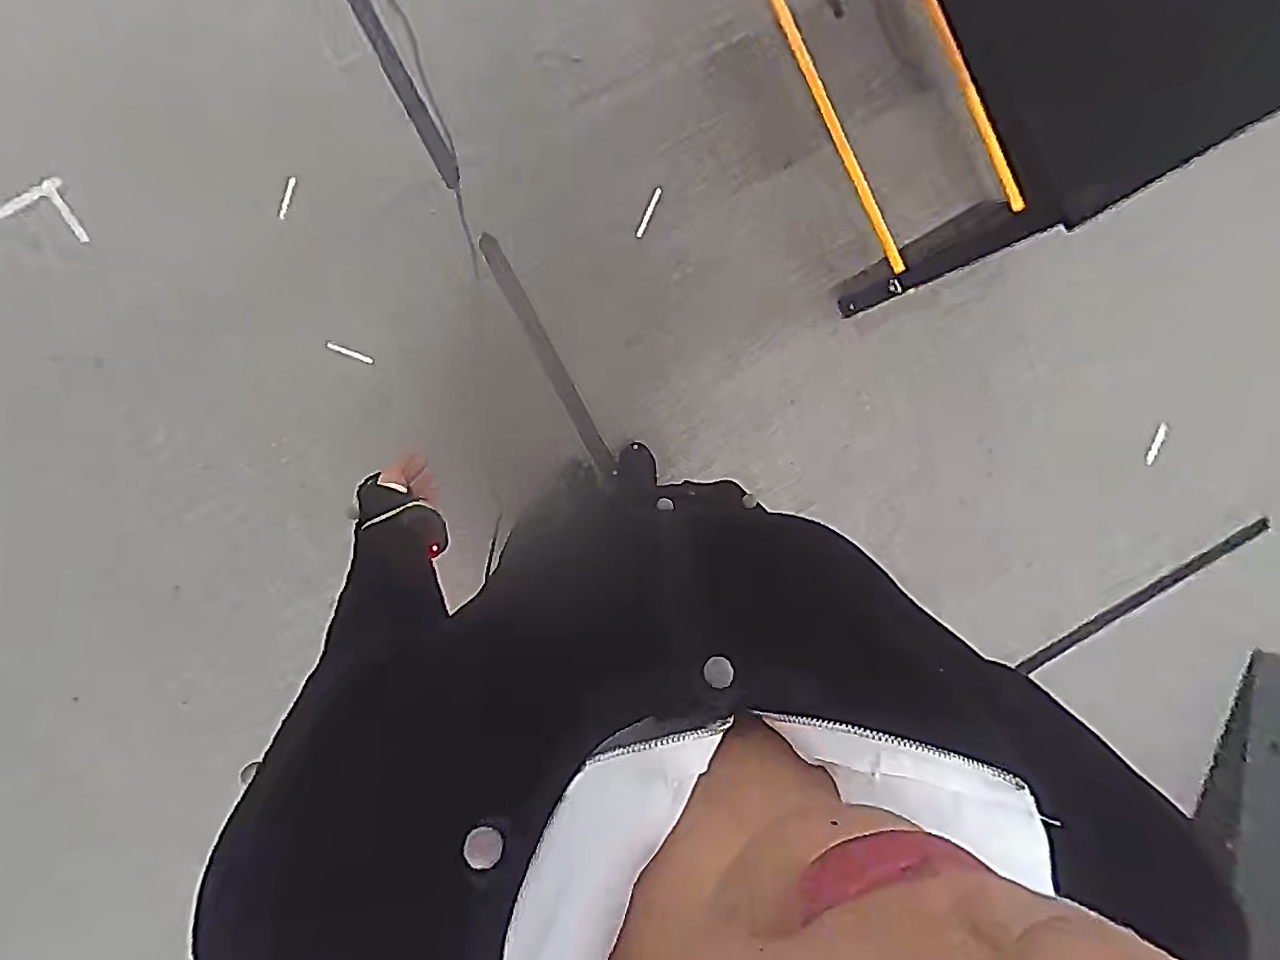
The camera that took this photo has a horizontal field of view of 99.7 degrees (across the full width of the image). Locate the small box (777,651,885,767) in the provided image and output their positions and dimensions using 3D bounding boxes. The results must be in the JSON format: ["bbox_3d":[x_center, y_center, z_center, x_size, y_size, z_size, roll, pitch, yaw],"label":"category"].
[{"bbox_3d":[0.469,0.562,1.349,0.168,0.176,0.179,-25,97,-4],"label":"small box"}]
